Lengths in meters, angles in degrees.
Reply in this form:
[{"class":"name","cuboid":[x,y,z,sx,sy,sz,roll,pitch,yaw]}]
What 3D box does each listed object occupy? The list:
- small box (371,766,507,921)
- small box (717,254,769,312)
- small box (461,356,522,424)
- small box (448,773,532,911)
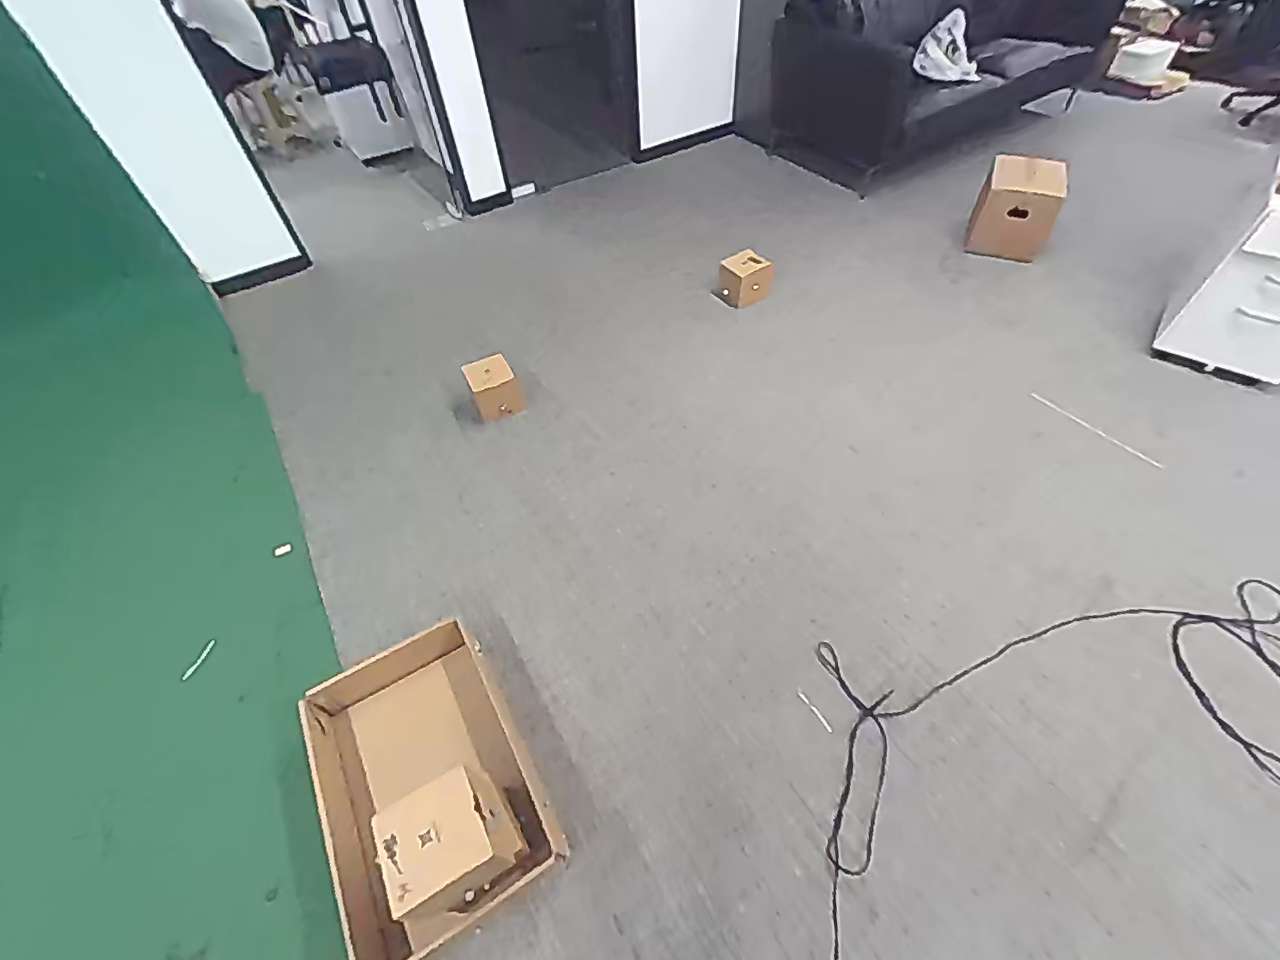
[{"class":"small box","cuboid":[-0.356,0.662,0.987,0.179,0.176,0.168,-25,54,-18]},{"class":"small box","cuboid":[0.475,-0.923,2.536,0.179,0.176,0.168,-28,55,-18]},{"class":"small box","cuboid":[-0.577,-0.349,2.113,0.168,0.176,0.179,-24,53,-15]},{"class":"small box","cuboid":[-0.346,0.755,1.122,0.179,0.176,0.168,-29,55,-21]}]
